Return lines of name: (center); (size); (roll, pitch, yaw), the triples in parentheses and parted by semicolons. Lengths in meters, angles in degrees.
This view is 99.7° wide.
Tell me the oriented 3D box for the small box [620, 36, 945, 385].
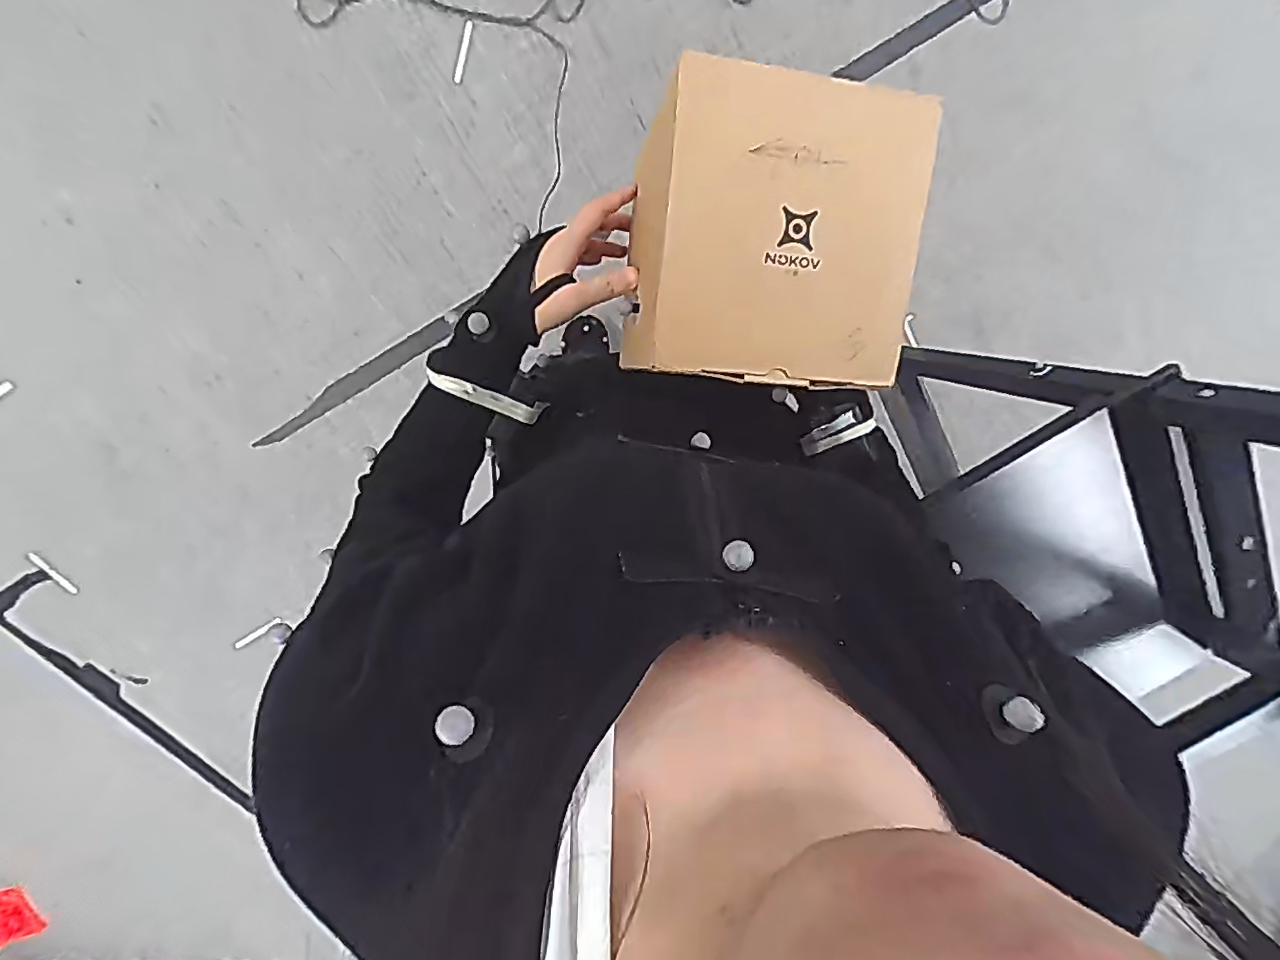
small box: (0.080, -0.167, 0.398); (0.168, 0.176, 0.179); (2, 101, -11)
